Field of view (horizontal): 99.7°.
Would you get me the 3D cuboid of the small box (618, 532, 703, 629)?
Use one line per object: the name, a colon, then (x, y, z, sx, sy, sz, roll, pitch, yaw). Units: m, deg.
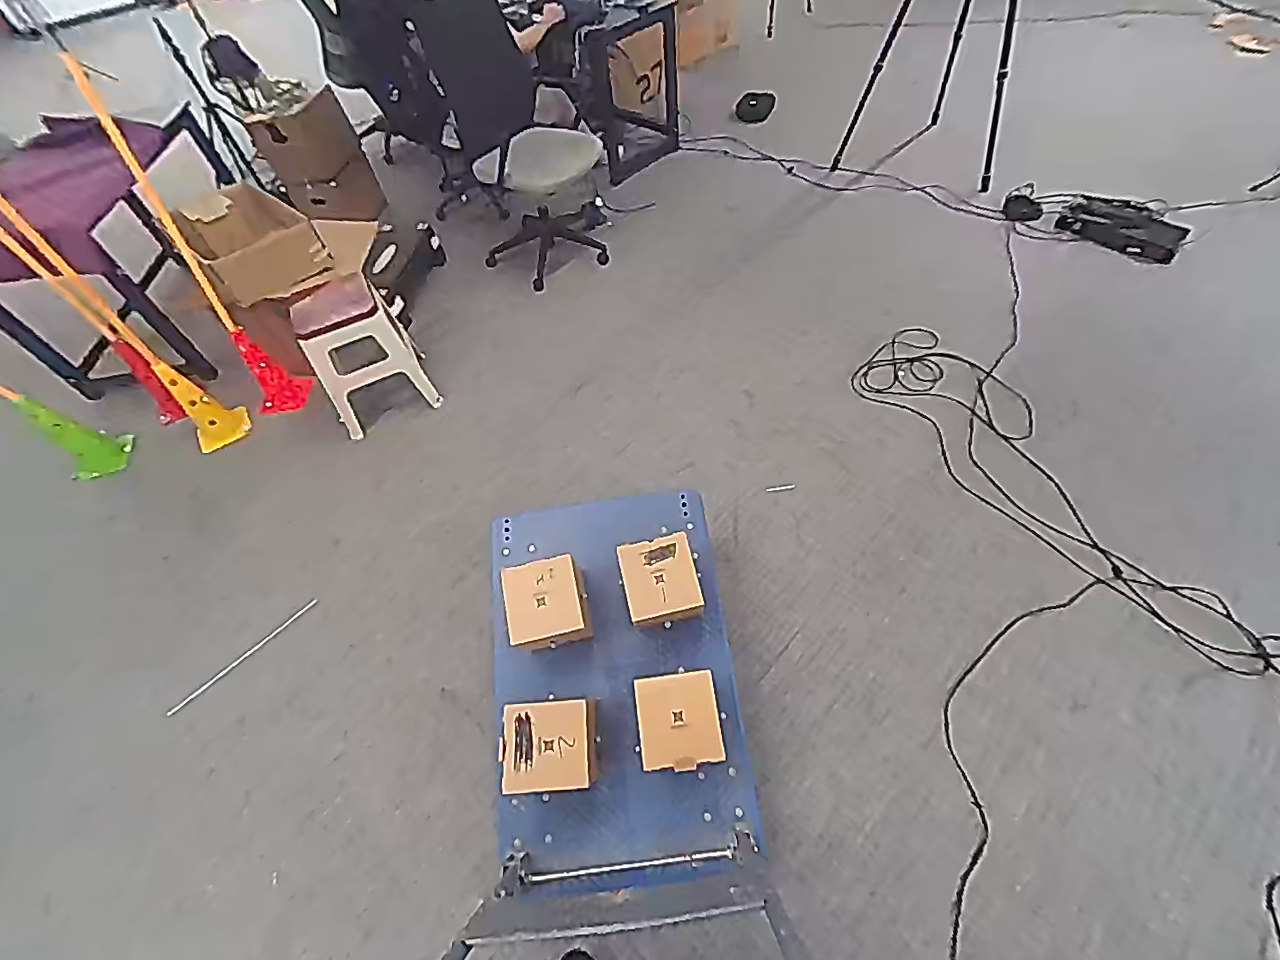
small box: (0.046, 0.243, 1.282, 0.168, 0.176, 0.179, -13, 69, -1)

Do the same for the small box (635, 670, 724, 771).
small box: (0.080, 0.517, 1.174, 0.168, 0.176, 0.179, -8, 69, 0)

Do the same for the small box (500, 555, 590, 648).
small box: (-0.218, 0.292, 1.276, 0.168, 0.176, 0.179, -12, 69, -3)
